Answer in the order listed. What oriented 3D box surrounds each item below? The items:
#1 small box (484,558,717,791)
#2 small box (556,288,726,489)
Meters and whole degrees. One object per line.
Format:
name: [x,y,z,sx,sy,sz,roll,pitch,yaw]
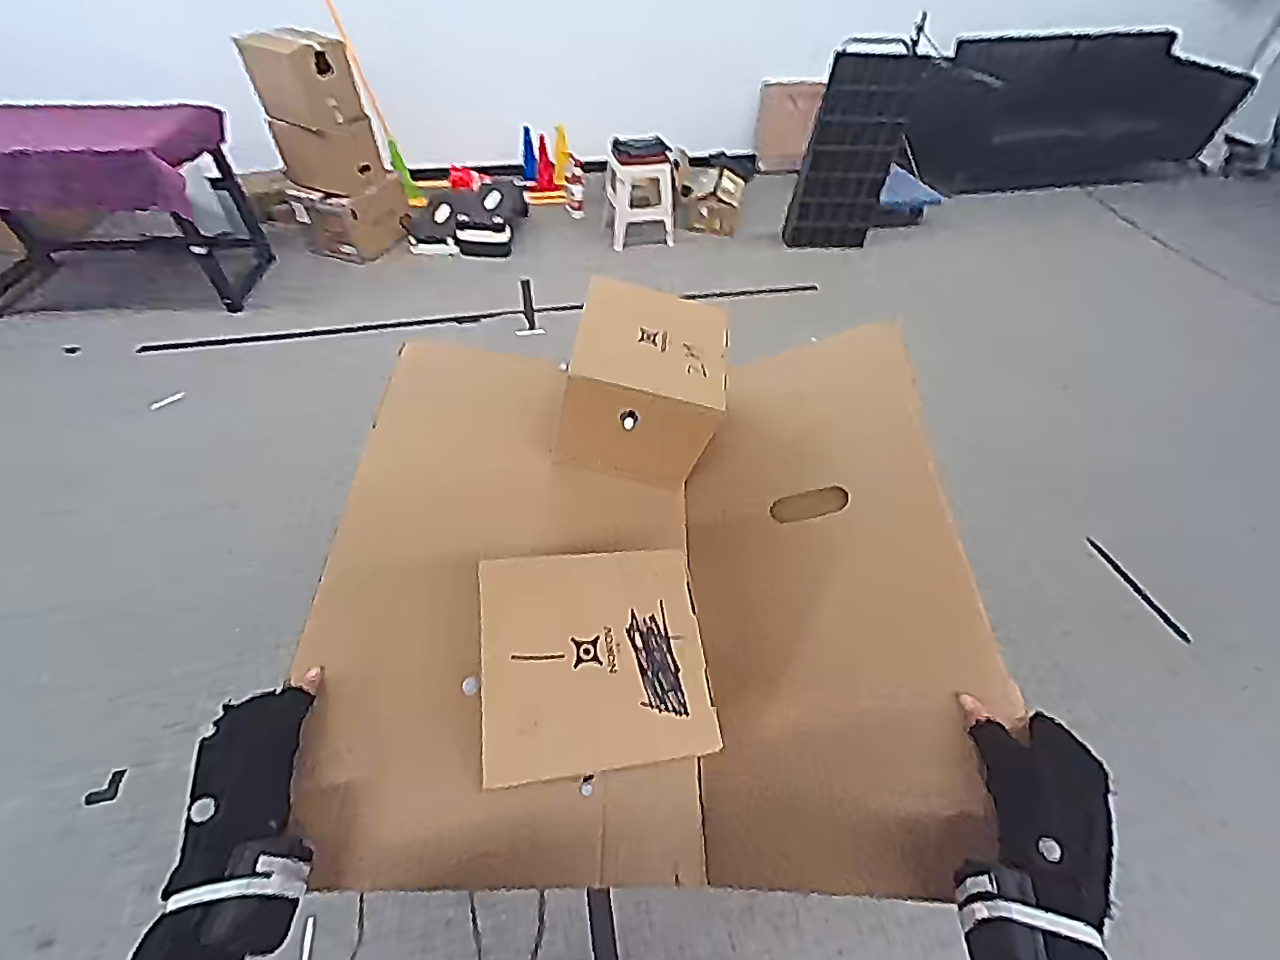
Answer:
small box: [-0.052,0.181,0.498,0.179,0.176,0.168,-1,60,-16]
small box: [-0.003,-0.107,0.689,0.179,0.176,0.168,13,57,-8]
